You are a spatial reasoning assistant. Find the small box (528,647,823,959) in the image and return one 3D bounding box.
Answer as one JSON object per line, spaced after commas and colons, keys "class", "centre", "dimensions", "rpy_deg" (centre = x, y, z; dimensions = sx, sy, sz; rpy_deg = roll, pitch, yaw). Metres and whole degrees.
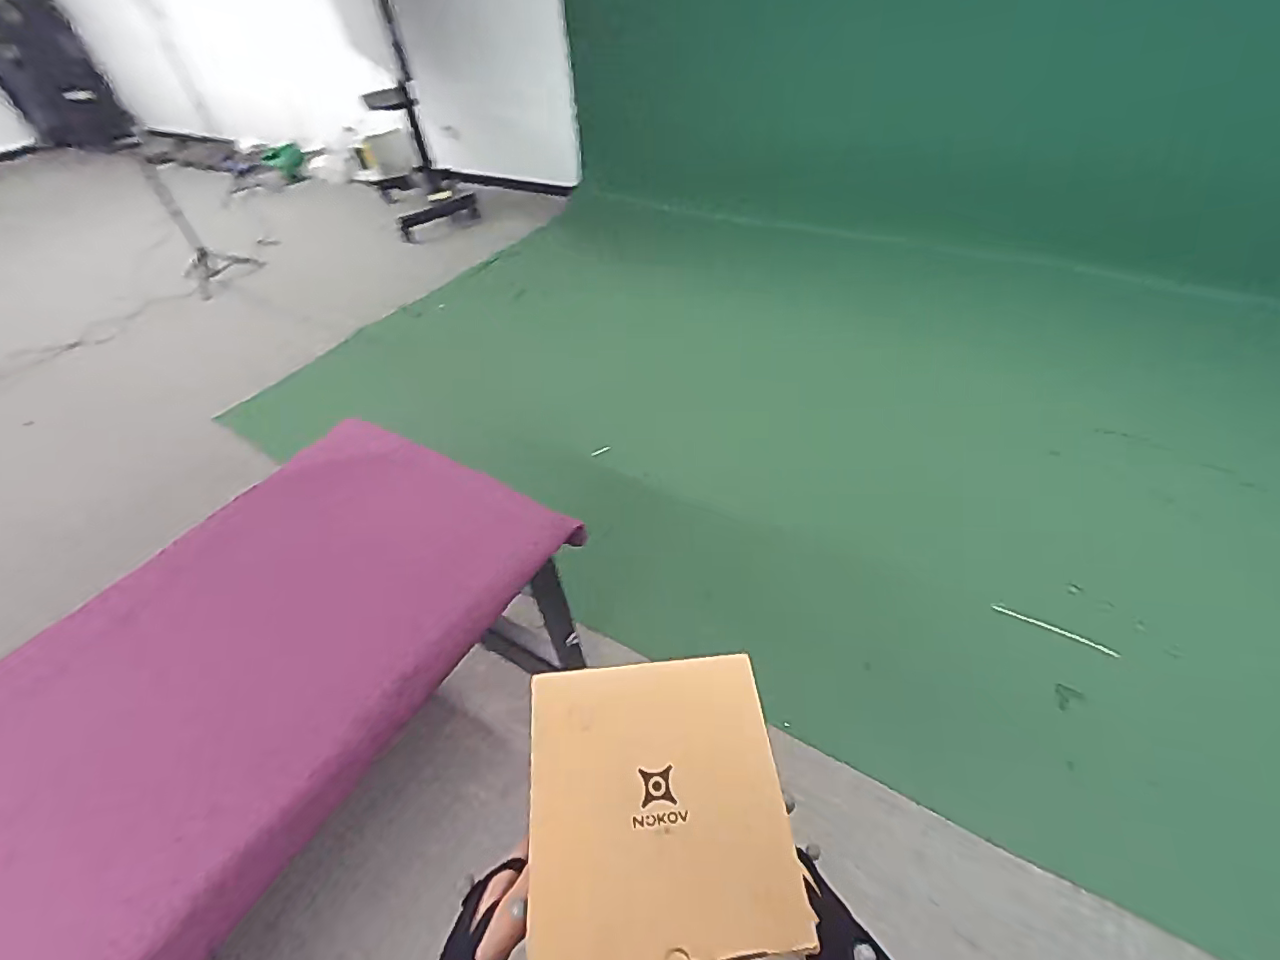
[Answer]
{"class": "small box", "centre": [0.011, 0.248, 0.407], "dimensions": [0.168, 0.176, 0.179], "rpy_deg": [-3, 50, -5]}
